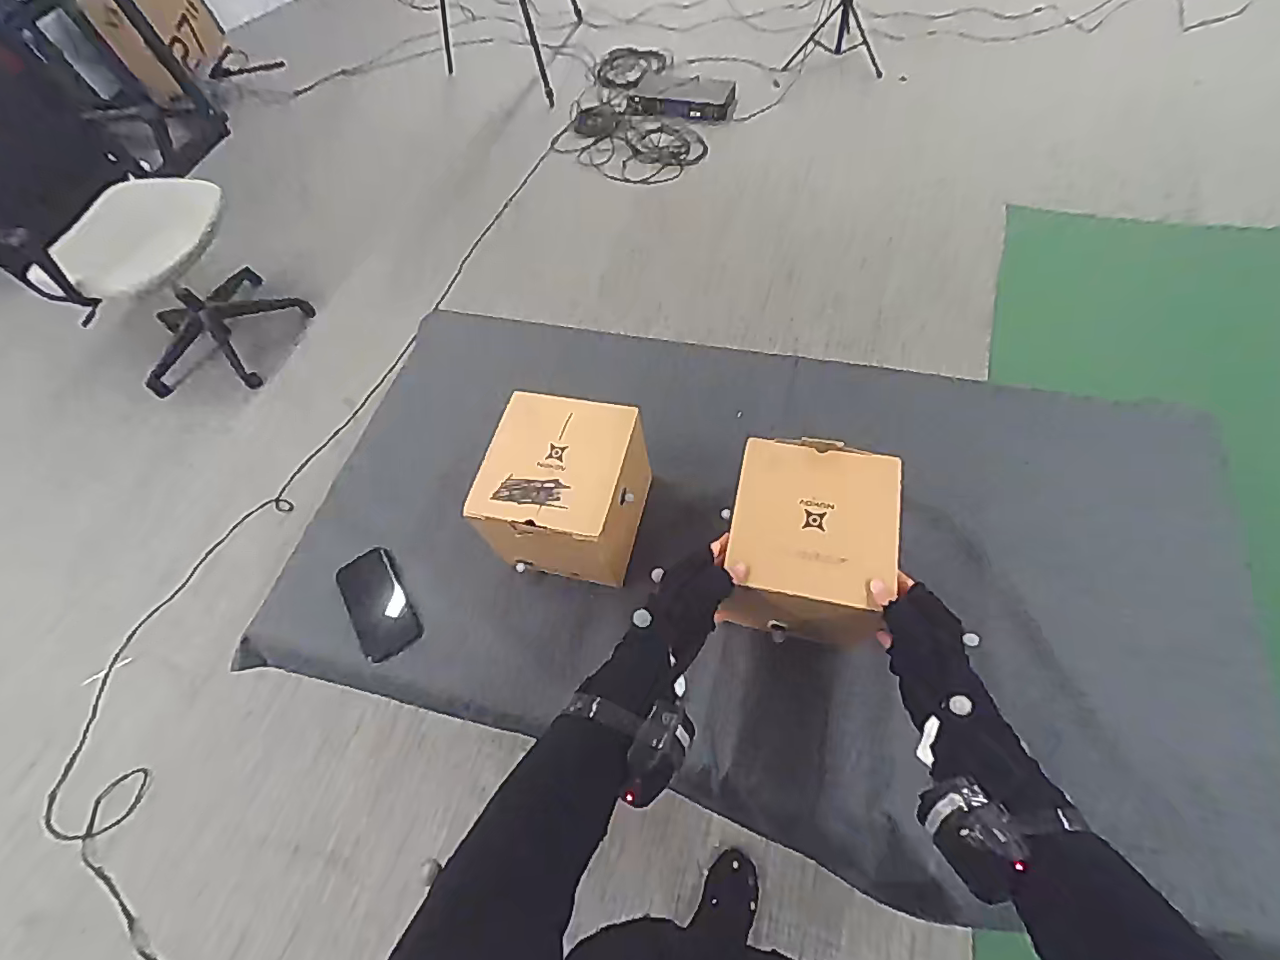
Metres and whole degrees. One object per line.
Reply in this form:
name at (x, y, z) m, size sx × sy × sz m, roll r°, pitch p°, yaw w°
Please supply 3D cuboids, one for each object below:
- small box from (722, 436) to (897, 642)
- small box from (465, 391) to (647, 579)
small box at (0.190, 0.073, 0.633) m, size 0.168 × 0.176 × 0.179 m, roll 8°, pitch 64°, yaw 13°
small box at (-0.092, 0.013, 0.698) m, size 0.168 × 0.176 × 0.179 m, roll 9°, pitch 63°, yaw 12°
